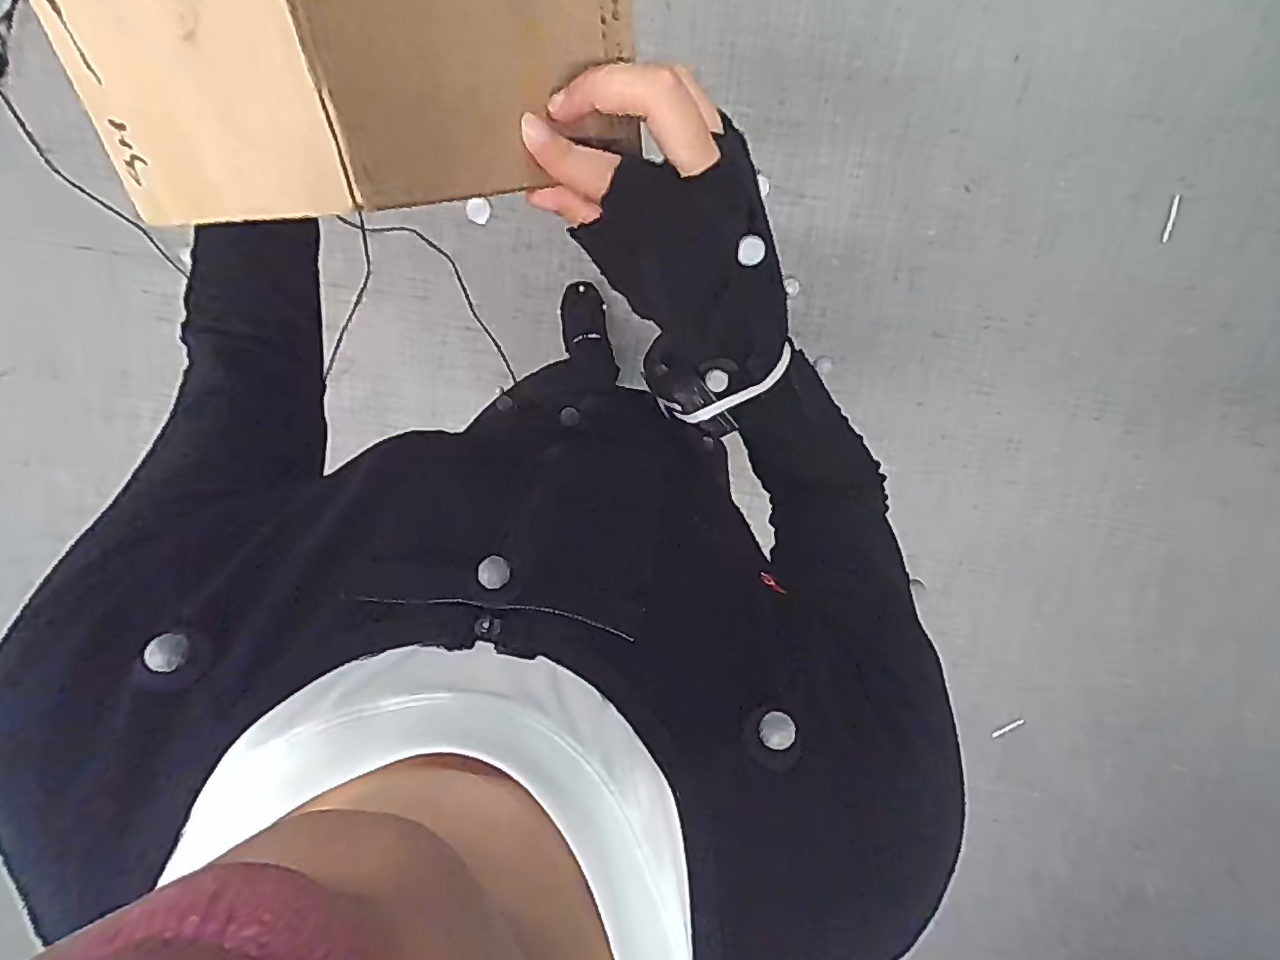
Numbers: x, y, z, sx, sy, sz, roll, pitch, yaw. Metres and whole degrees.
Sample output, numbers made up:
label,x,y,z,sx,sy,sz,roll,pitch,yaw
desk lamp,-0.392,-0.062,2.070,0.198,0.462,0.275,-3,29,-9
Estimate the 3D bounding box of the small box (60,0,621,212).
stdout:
label,x,y,z,sx,sy,sz,roll,pitch,yaw
small box,-0.120,-0.219,0.234,0.179,0.176,0.168,14,126,29
